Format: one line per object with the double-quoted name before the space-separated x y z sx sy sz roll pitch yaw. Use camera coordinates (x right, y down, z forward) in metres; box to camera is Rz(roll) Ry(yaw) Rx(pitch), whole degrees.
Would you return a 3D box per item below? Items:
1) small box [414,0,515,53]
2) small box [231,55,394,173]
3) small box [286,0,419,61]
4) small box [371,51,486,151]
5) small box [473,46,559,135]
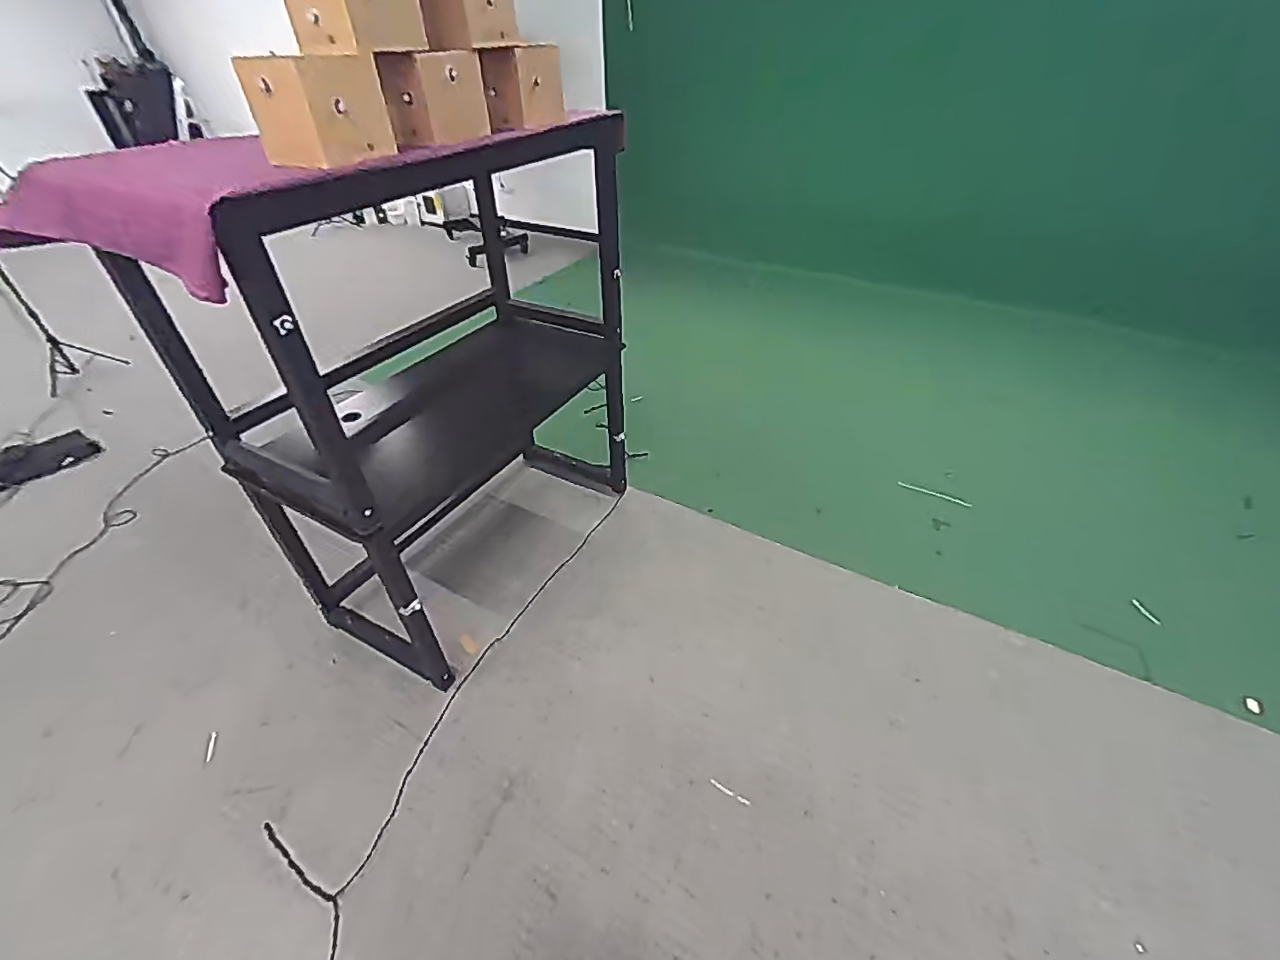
"small box" -0.400 -1.047 1.189 0.179 0.176 0.168 18 44 22
"small box" -0.600 -0.686 1.015 0.179 0.176 0.168 17 43 23
"small box" -0.541 -0.896 1.010 0.168 0.176 0.179 18 44 22
"small box" -0.468 -0.840 1.199 0.168 0.176 0.179 19 43 23
"small box" -0.323 -1.004 1.392 0.168 0.176 0.179 20 45 22
